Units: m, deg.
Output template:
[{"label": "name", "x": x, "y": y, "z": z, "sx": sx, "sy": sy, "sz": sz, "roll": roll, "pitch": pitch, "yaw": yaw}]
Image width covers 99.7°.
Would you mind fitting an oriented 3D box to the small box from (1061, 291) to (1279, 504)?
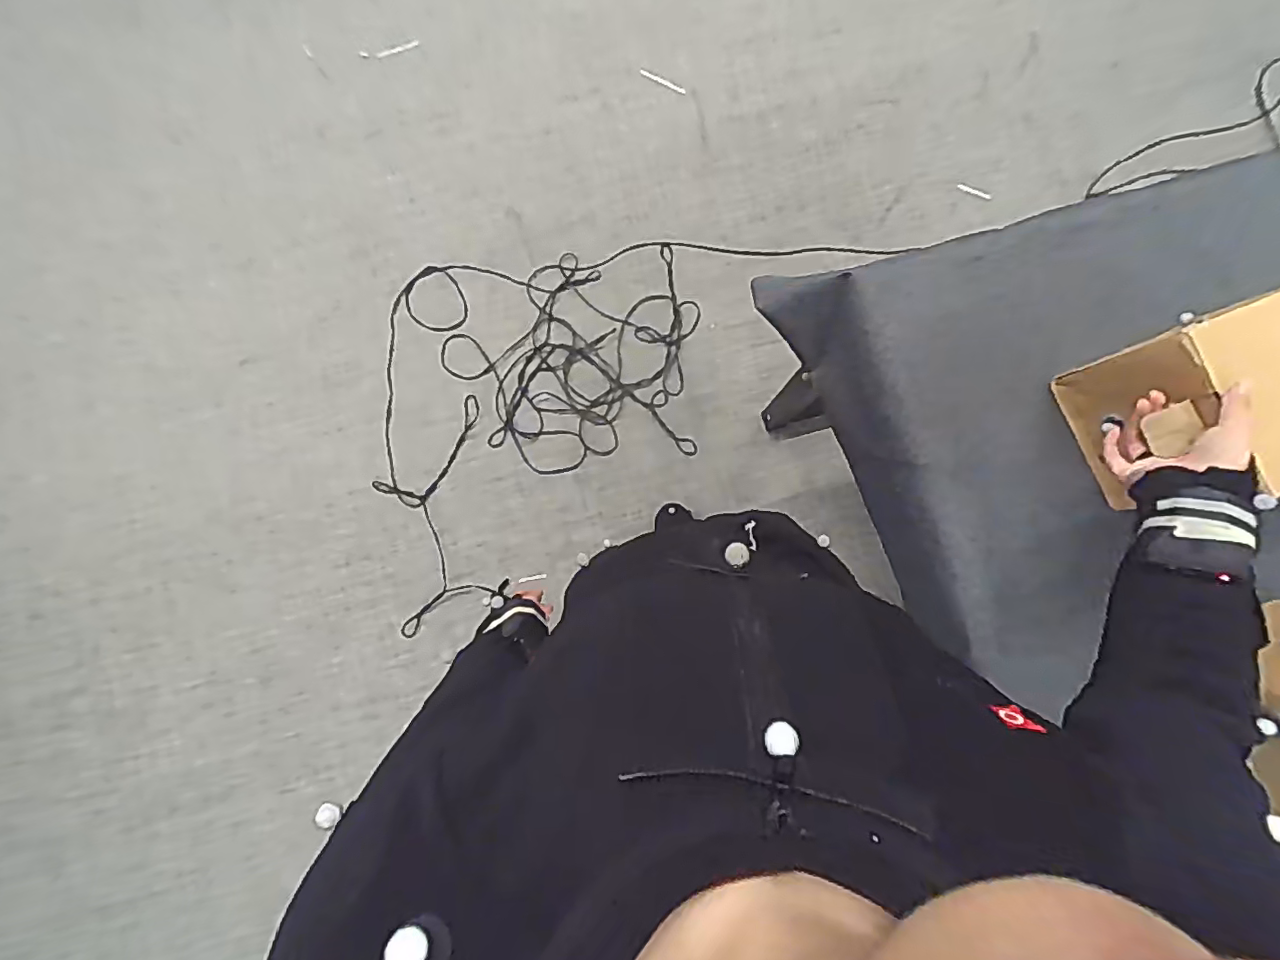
[{"label": "small box", "x": 0.594, "y": -0.083, "z": 0.548, "sx": 0.179, "sy": 0.176, "sz": 0.168, "roll": -23, "pitch": 85, "yaw": -1}]
